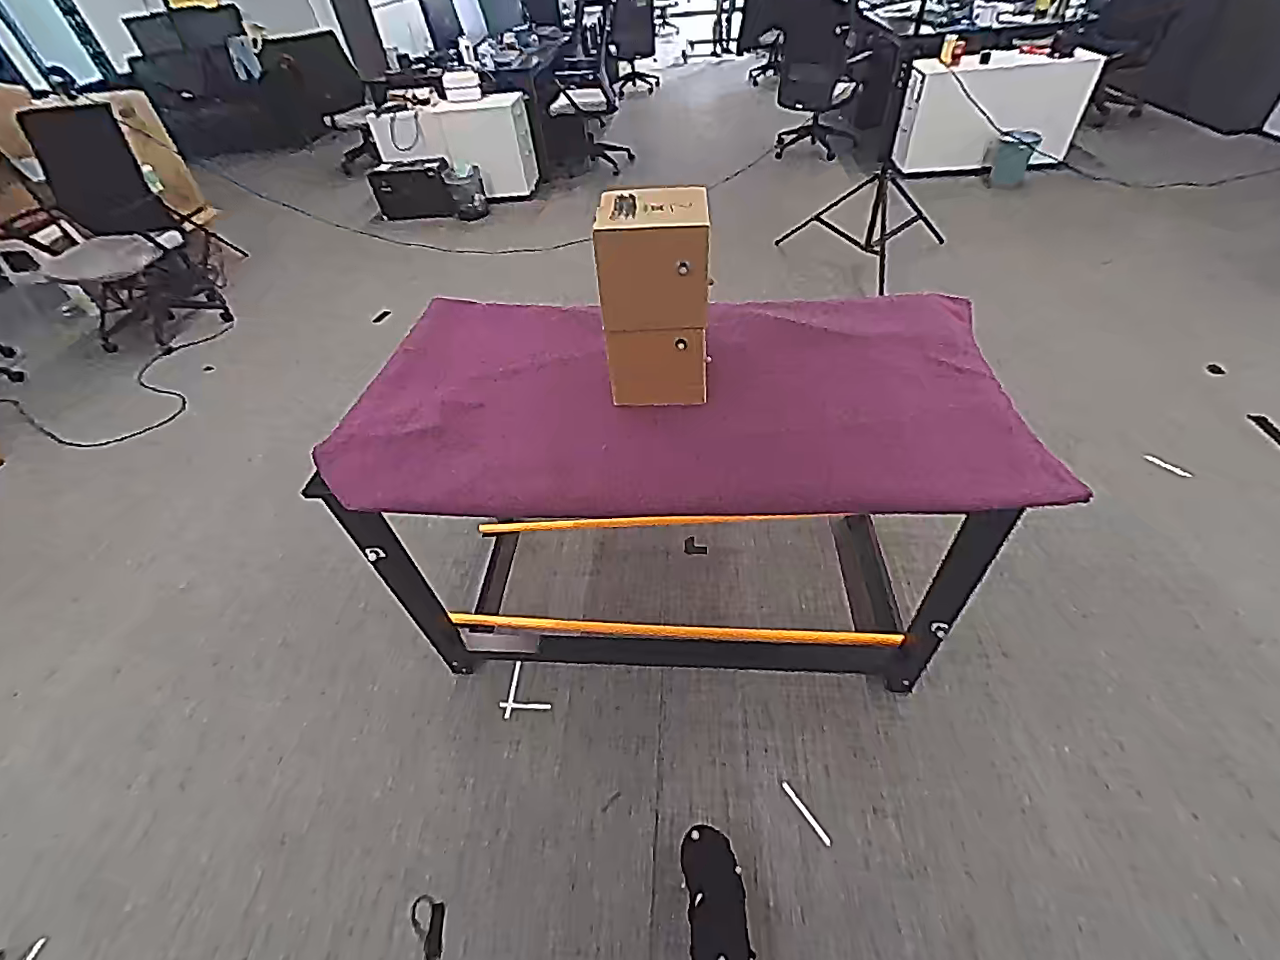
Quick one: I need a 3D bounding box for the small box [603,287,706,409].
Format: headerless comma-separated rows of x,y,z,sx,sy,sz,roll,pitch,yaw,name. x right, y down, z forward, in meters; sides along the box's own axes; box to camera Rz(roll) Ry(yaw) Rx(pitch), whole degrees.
0.036,-0.246,1.024,0.179,0.176,0.168,0,45,6,small box
